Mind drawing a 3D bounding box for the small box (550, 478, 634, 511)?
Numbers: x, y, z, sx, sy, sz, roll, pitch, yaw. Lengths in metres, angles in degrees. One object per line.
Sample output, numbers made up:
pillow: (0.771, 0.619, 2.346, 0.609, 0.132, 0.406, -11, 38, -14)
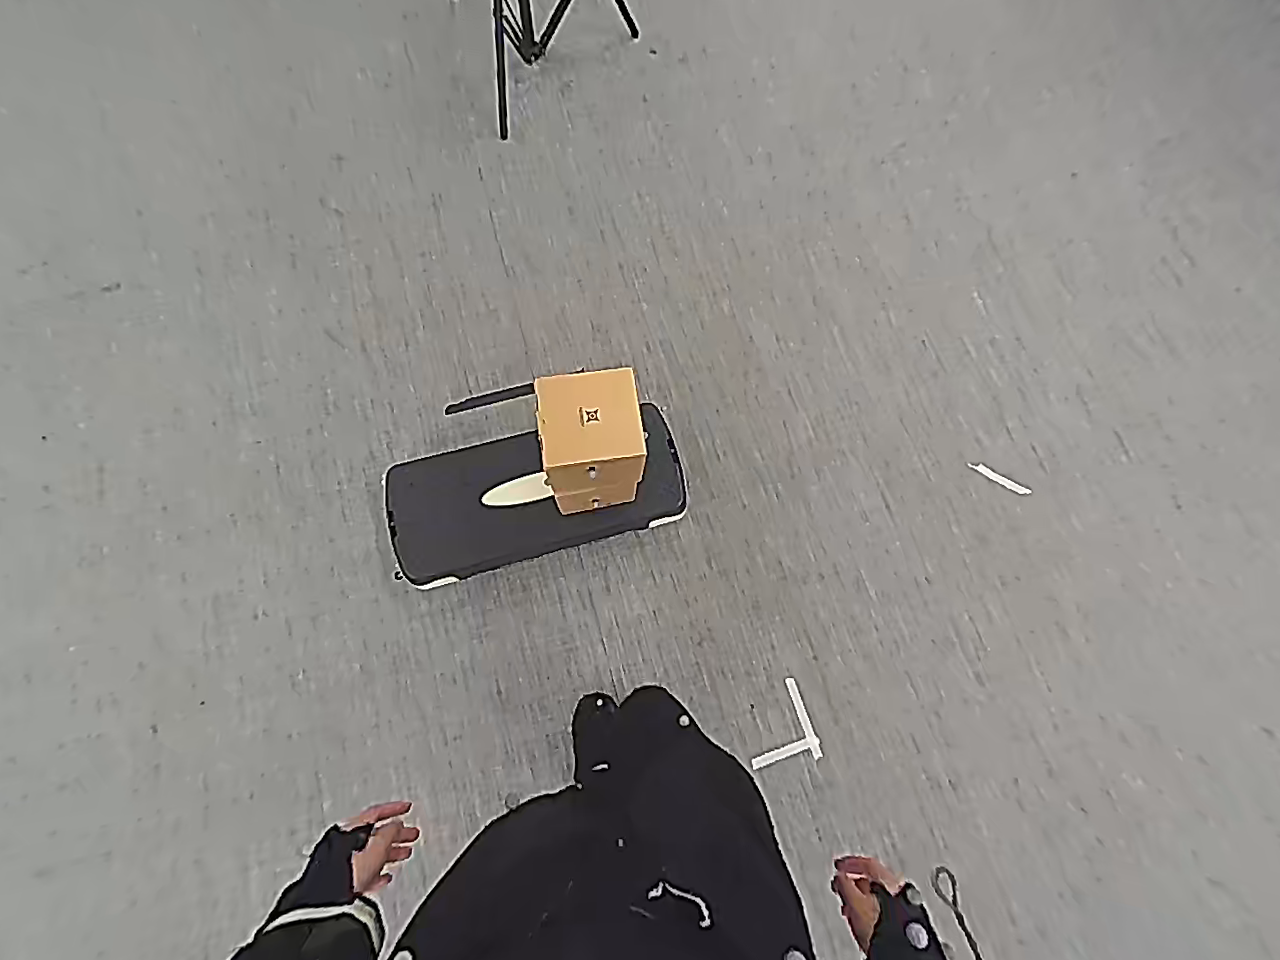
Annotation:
small box: (-0.109, -0.038, 1.150, 0.168, 0.176, 0.179, -11, 75, -6)

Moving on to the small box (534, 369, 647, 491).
small box: (-0.090, -0.085, 0.995, 0.179, 0.176, 0.168, -8, 75, -4)
